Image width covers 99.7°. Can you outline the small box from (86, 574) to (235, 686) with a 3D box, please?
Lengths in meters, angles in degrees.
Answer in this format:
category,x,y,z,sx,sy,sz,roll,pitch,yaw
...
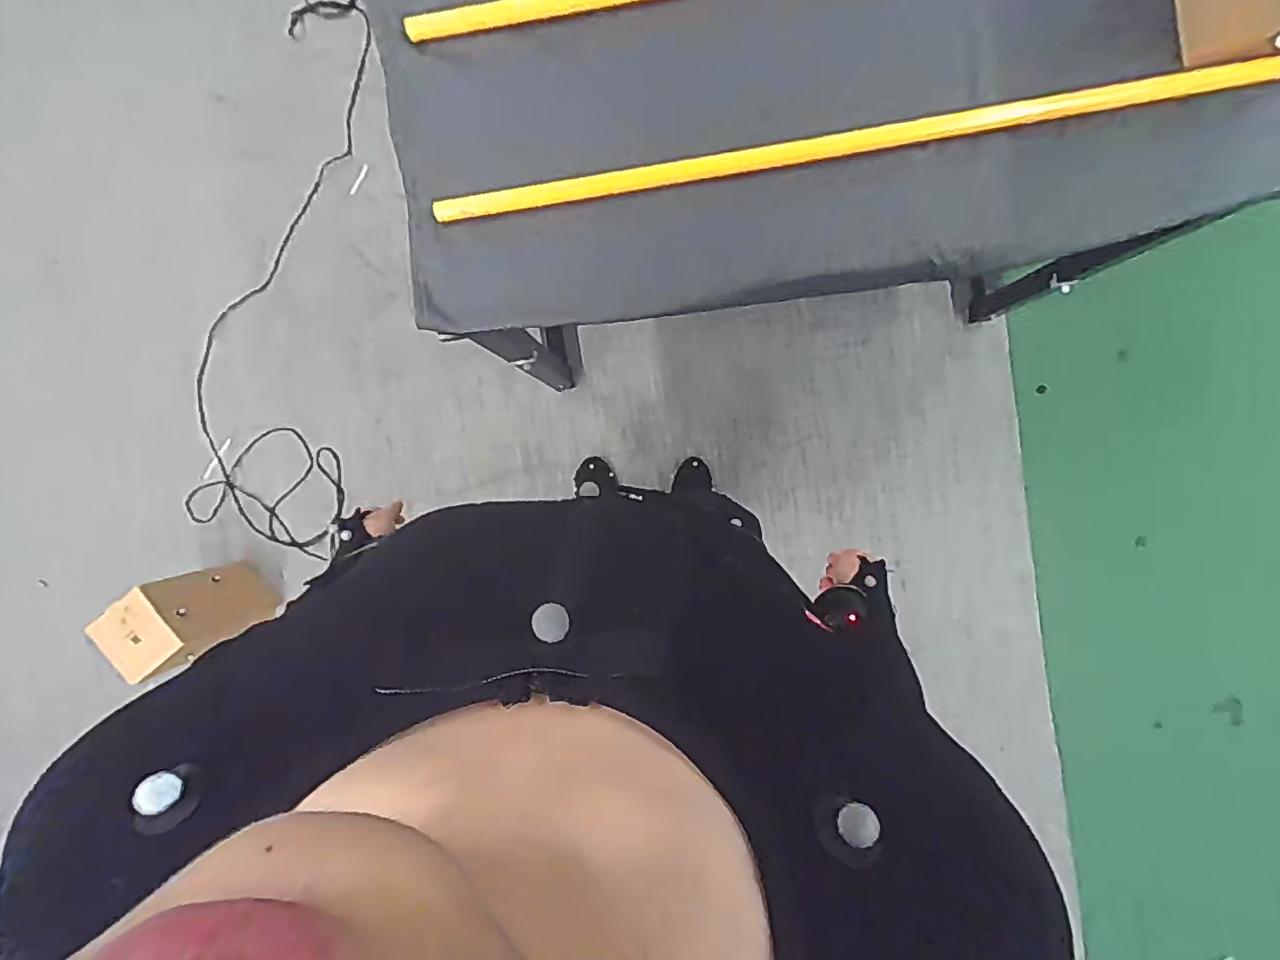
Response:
category,x,y,z,sx,sy,sz,roll,pitch,yaw
small box,-1.144,0.351,1.306,0.168,0.176,0.179,-38,90,3

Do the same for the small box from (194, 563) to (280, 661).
category,x,y,z,sx,sy,sz,roll,pitch,yaw
small box,-1.139,0.348,1.471,0.168,0.176,0.179,-44,90,4
